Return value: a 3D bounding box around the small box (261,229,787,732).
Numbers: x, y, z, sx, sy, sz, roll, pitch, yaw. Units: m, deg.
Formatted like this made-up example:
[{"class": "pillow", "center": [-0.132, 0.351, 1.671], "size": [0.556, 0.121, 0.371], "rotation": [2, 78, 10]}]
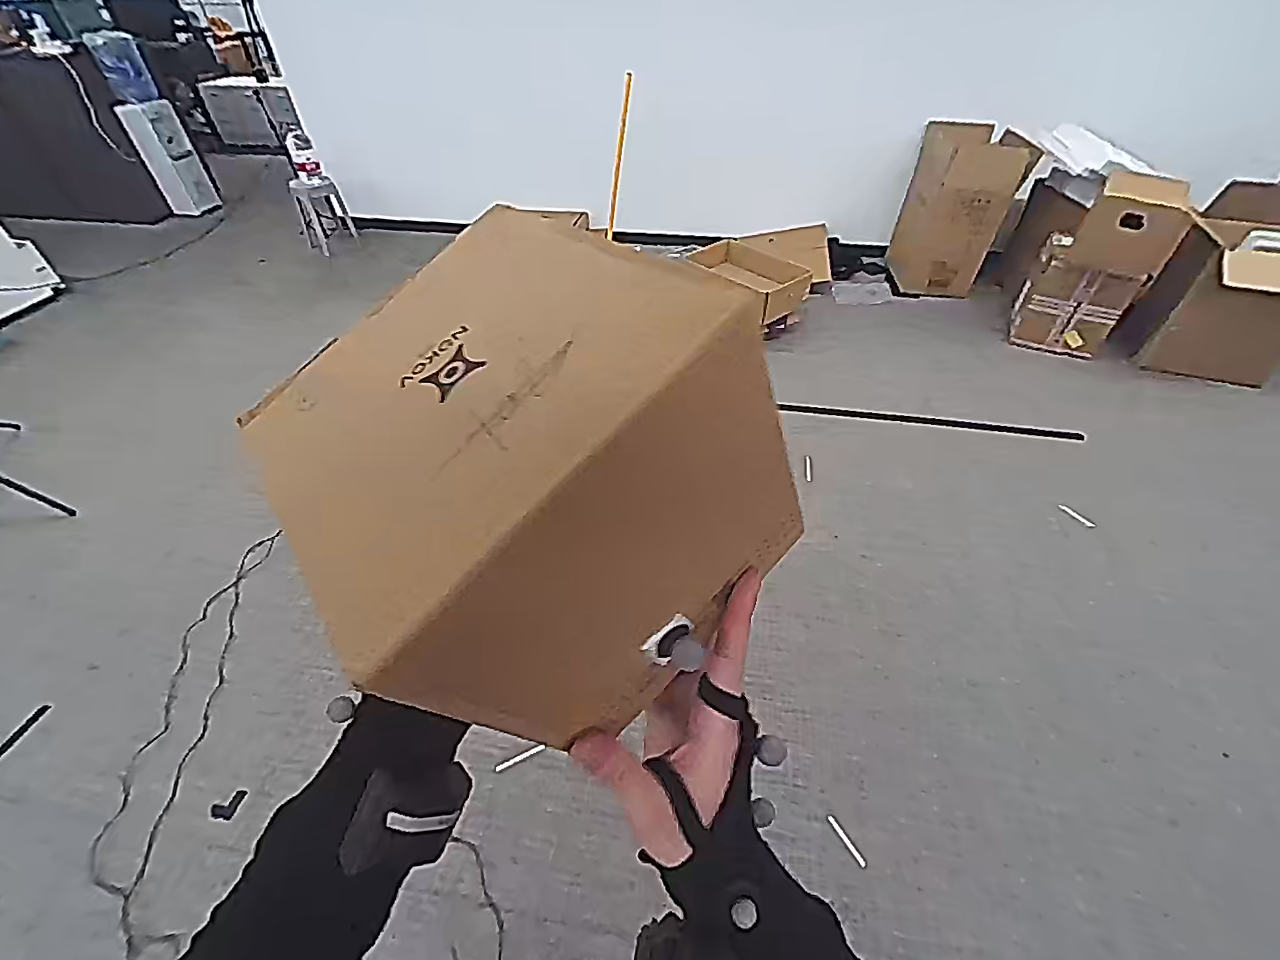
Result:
[{"class": "small box", "center": [-0.046, 0.005, 0.288], "size": [0.168, 0.176, 0.179], "rotation": [-46, 53, -9]}]
